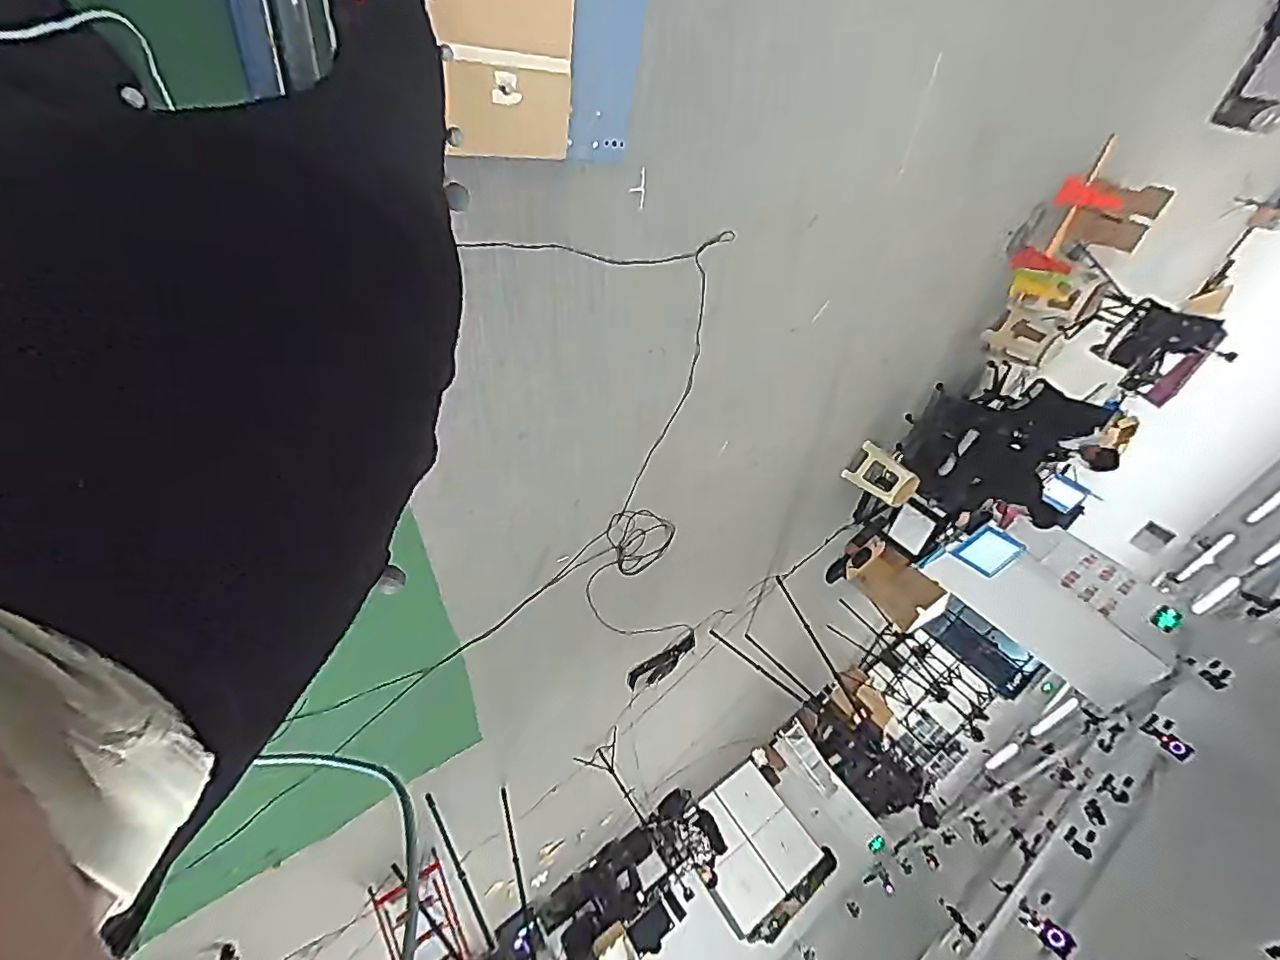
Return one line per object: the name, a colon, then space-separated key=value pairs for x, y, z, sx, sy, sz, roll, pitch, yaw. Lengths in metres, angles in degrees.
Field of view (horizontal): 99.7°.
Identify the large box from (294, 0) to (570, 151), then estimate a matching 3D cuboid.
large box: x=-0.385 y=-0.827 z=1.008 sx=0.408 sy=0.320 sz=0.320 roll=-20 pitch=139 yaw=-33
